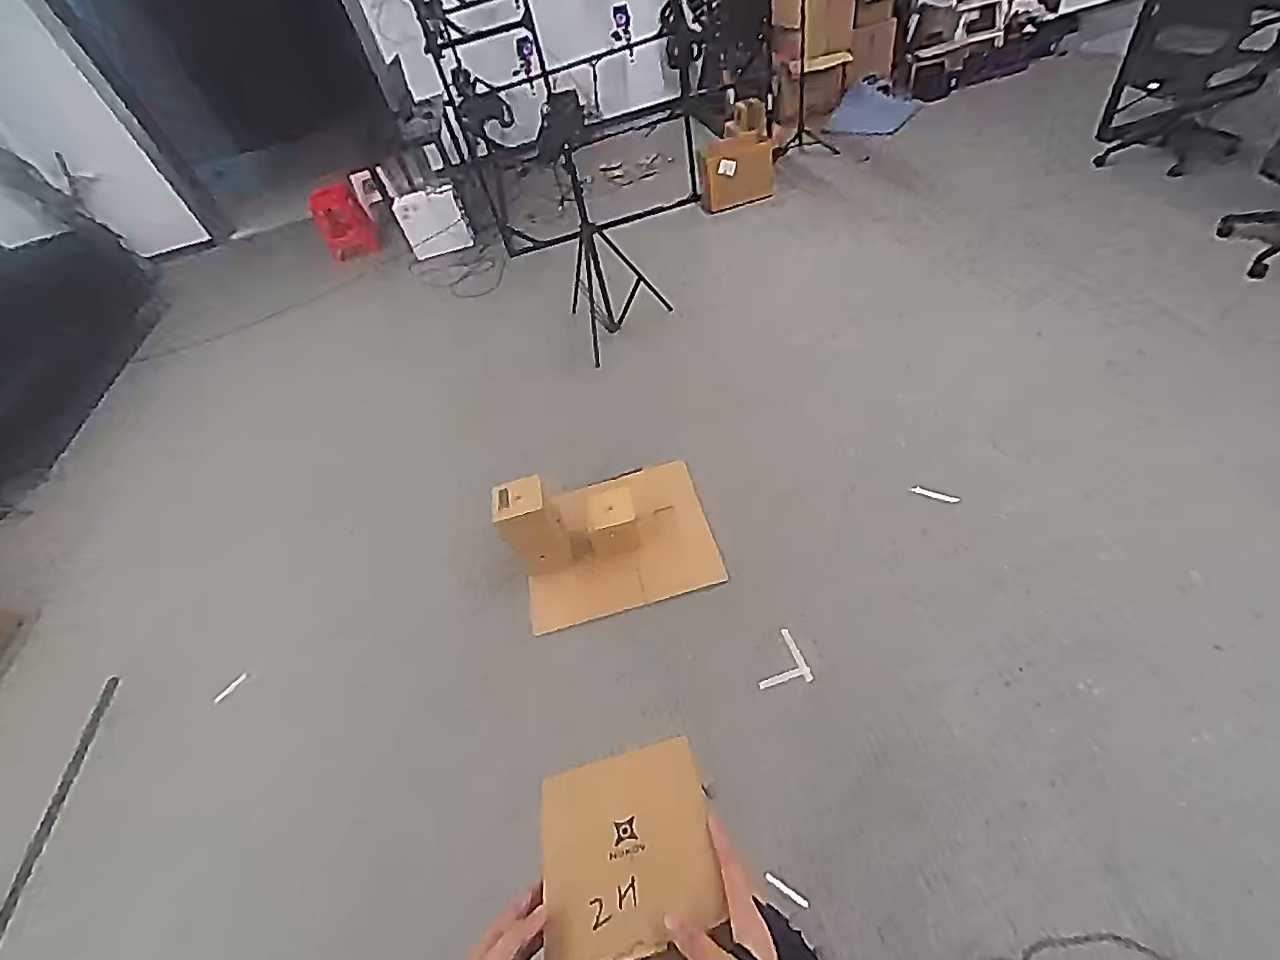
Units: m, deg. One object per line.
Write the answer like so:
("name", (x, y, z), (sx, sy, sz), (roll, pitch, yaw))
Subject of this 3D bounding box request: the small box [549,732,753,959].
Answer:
("small box", (0.009, 0.407, 0.563), (0.168, 0.176, 0.179), (-16, 32, 0))

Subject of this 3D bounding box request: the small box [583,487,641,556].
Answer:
("small box", (-0.098, 0.155, 1.991), (0.179, 0.176, 0.168), (-15, 47, 1))

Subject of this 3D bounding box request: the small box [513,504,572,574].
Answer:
("small box", (-0.355, 0.220, 1.995), (0.179, 0.176, 0.168), (-17, 47, 1))
